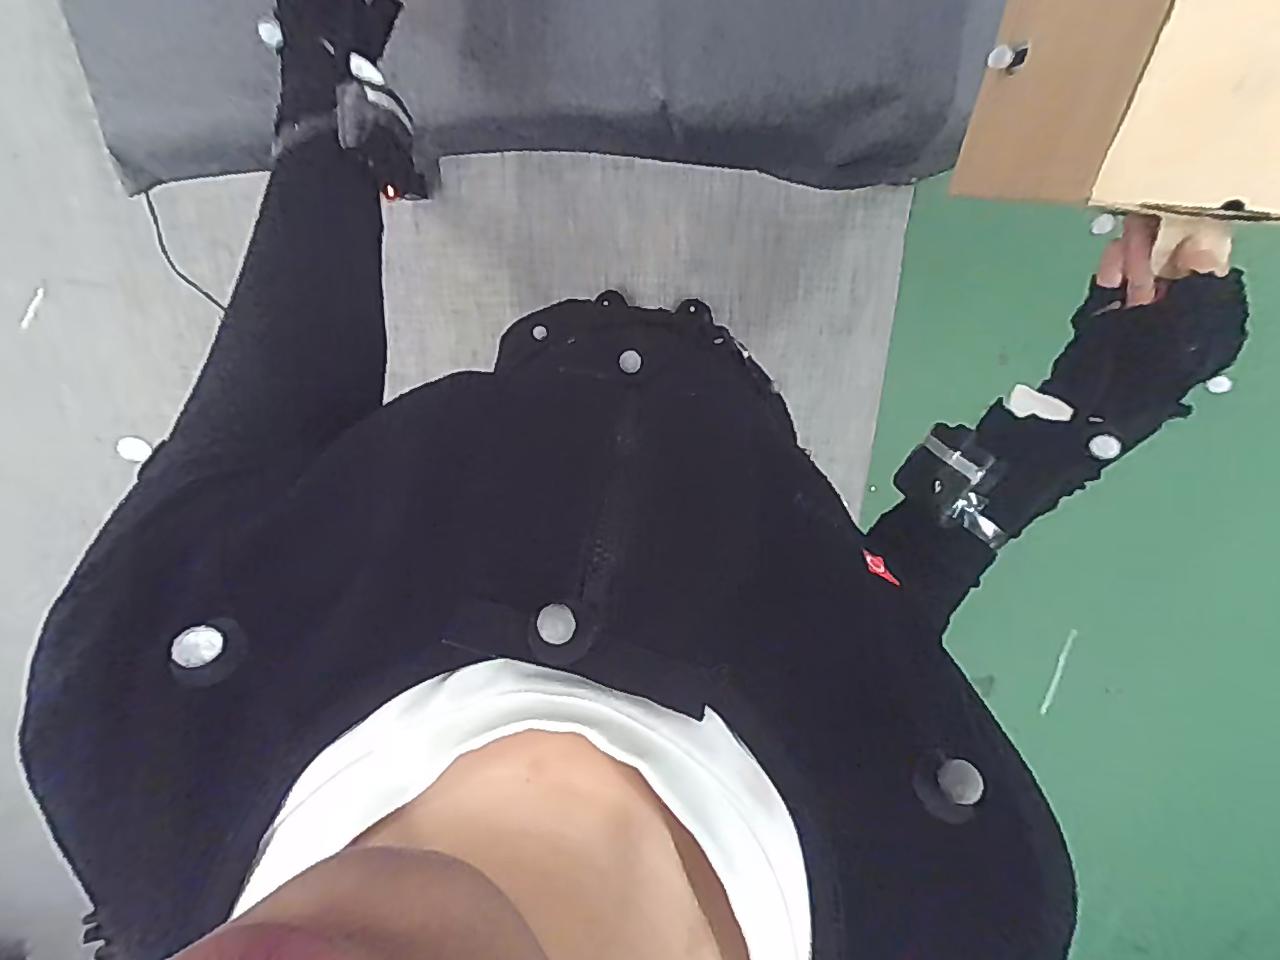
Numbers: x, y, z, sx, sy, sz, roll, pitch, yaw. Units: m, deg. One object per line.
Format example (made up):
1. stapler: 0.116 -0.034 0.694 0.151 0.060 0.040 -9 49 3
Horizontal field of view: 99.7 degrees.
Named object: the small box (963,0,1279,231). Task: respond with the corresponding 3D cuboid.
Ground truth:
1. small box: 0.339 -0.263 0.334 0.168 0.176 0.179 4 120 -1
